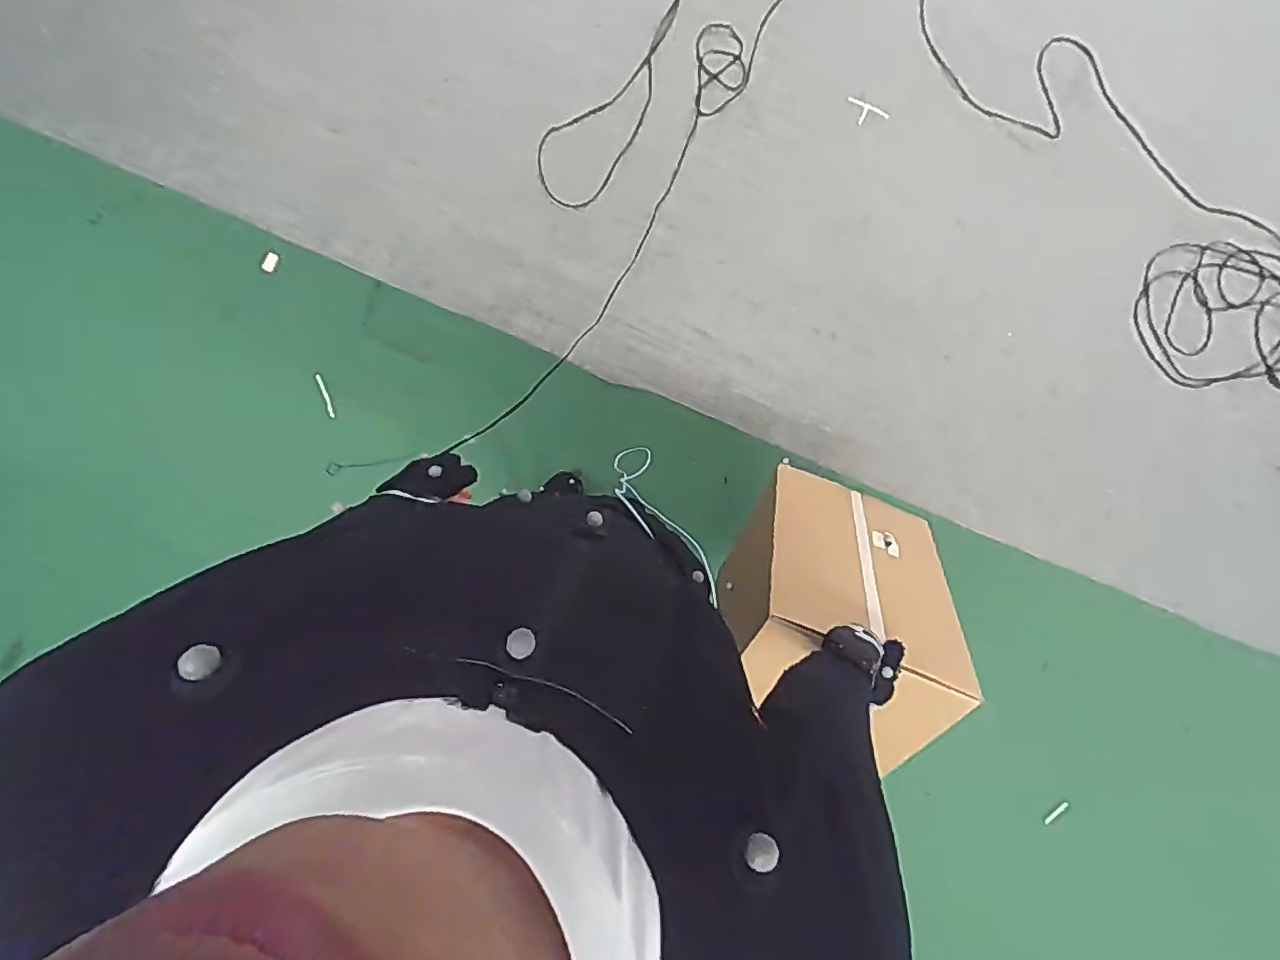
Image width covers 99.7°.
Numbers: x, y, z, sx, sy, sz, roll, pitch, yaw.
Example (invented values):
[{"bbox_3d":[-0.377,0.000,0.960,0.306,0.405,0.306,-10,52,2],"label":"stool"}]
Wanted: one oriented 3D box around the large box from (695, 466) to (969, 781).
[{"bbox_3d":[0.317,0.247,0.995,0.320,0.408,0.320,23,126,0],"label":"large box"}]
